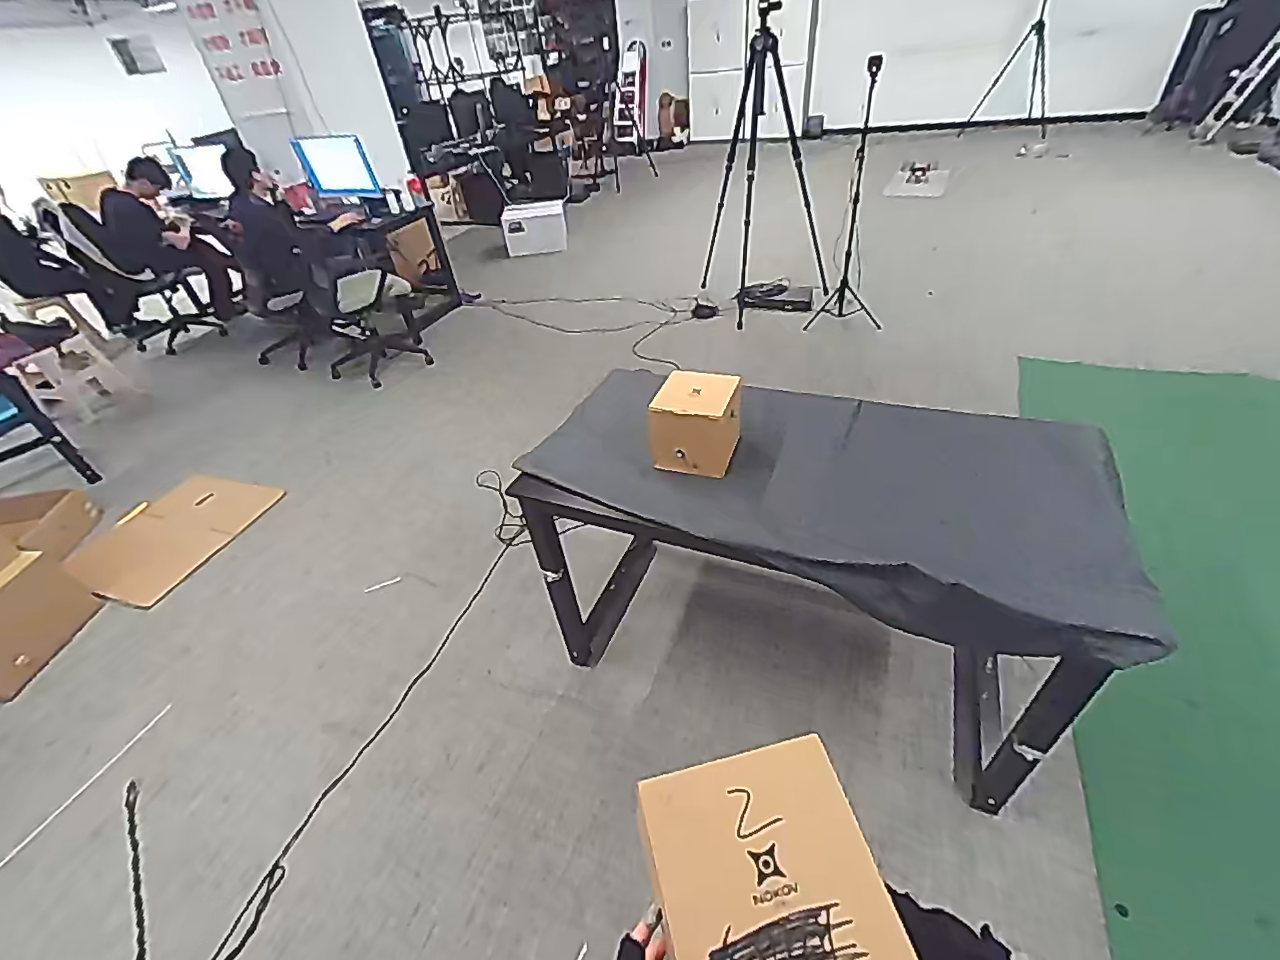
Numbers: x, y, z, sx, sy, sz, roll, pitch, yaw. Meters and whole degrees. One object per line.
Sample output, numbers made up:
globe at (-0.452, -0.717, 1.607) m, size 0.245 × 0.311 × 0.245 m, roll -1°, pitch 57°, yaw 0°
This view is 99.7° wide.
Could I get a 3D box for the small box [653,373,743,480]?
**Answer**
small box at (0.137, -0.126, 1.263) m, size 0.168 × 0.176 × 0.179 m, roll 11°, pitch 43°, yaw 19°
